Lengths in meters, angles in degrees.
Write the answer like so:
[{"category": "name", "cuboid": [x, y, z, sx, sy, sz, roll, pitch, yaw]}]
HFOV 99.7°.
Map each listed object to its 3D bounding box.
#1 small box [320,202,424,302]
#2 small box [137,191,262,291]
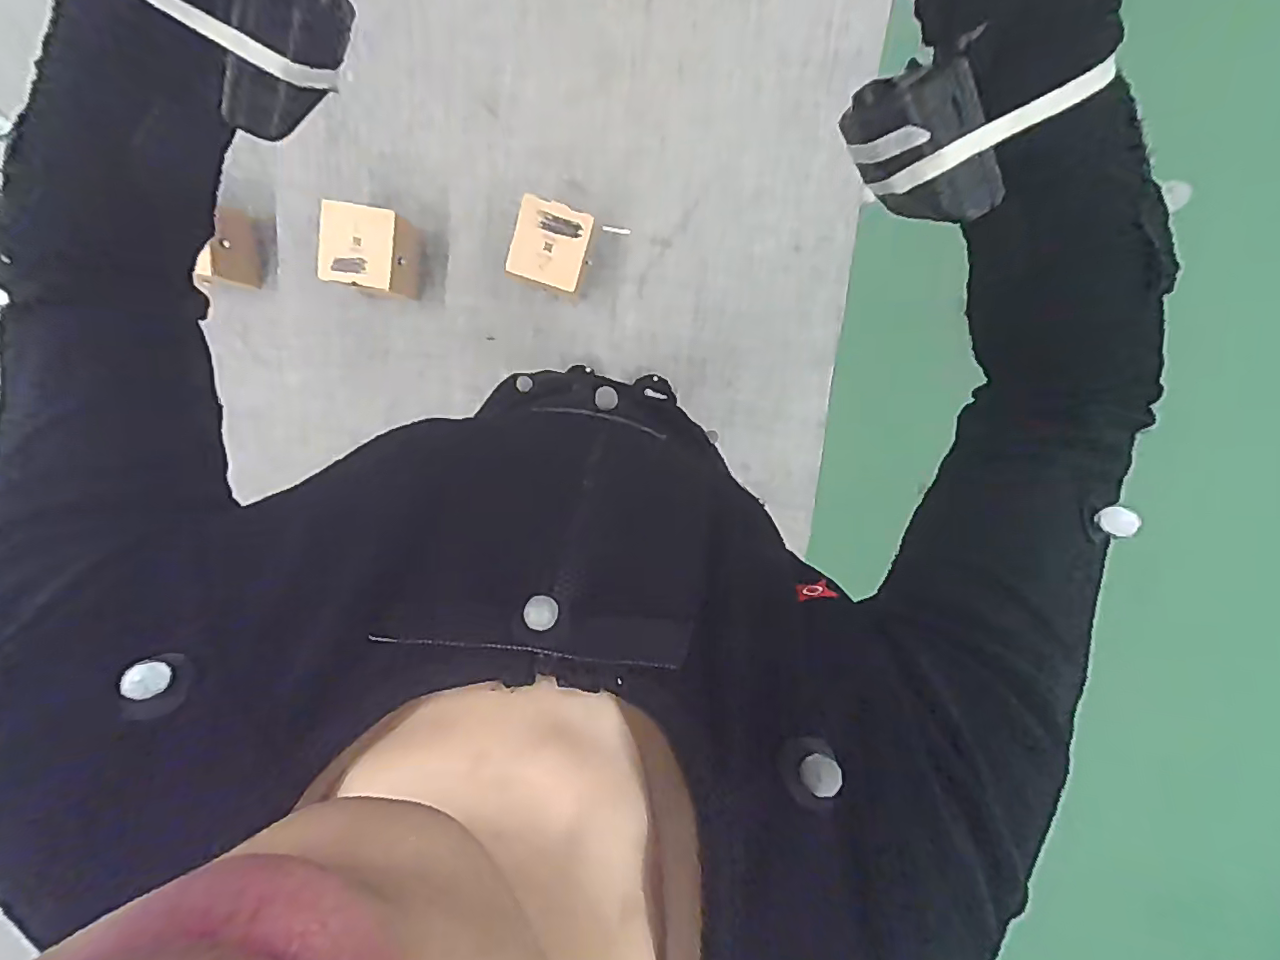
[{"category": "small box", "cuboid": [-0.636, -0.535, 1.297, 0.168, 0.176, 0.179, 9, 99, -2]}, {"category": "small box", "cuboid": [-1.038, -0.561, 1.289, 0.168, 0.176, 0.179, 4, 100, -1]}]
